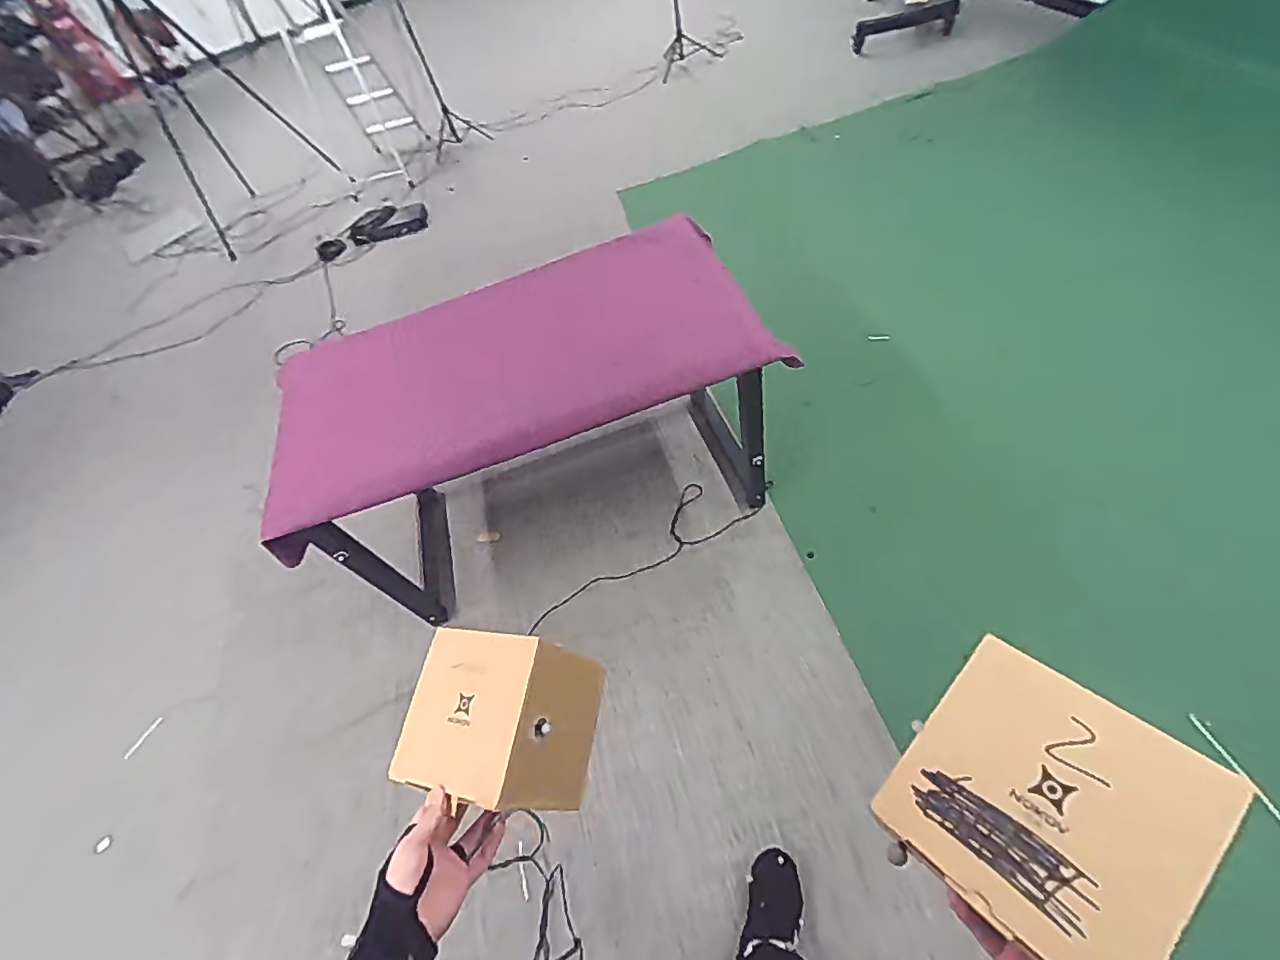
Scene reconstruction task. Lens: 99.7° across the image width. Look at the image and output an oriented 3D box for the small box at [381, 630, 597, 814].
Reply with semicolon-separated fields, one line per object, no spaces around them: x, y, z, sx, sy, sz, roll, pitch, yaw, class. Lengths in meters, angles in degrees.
-0.173;0.300;0.673;0.168;0.176;0.179;-3;59;27;small box
